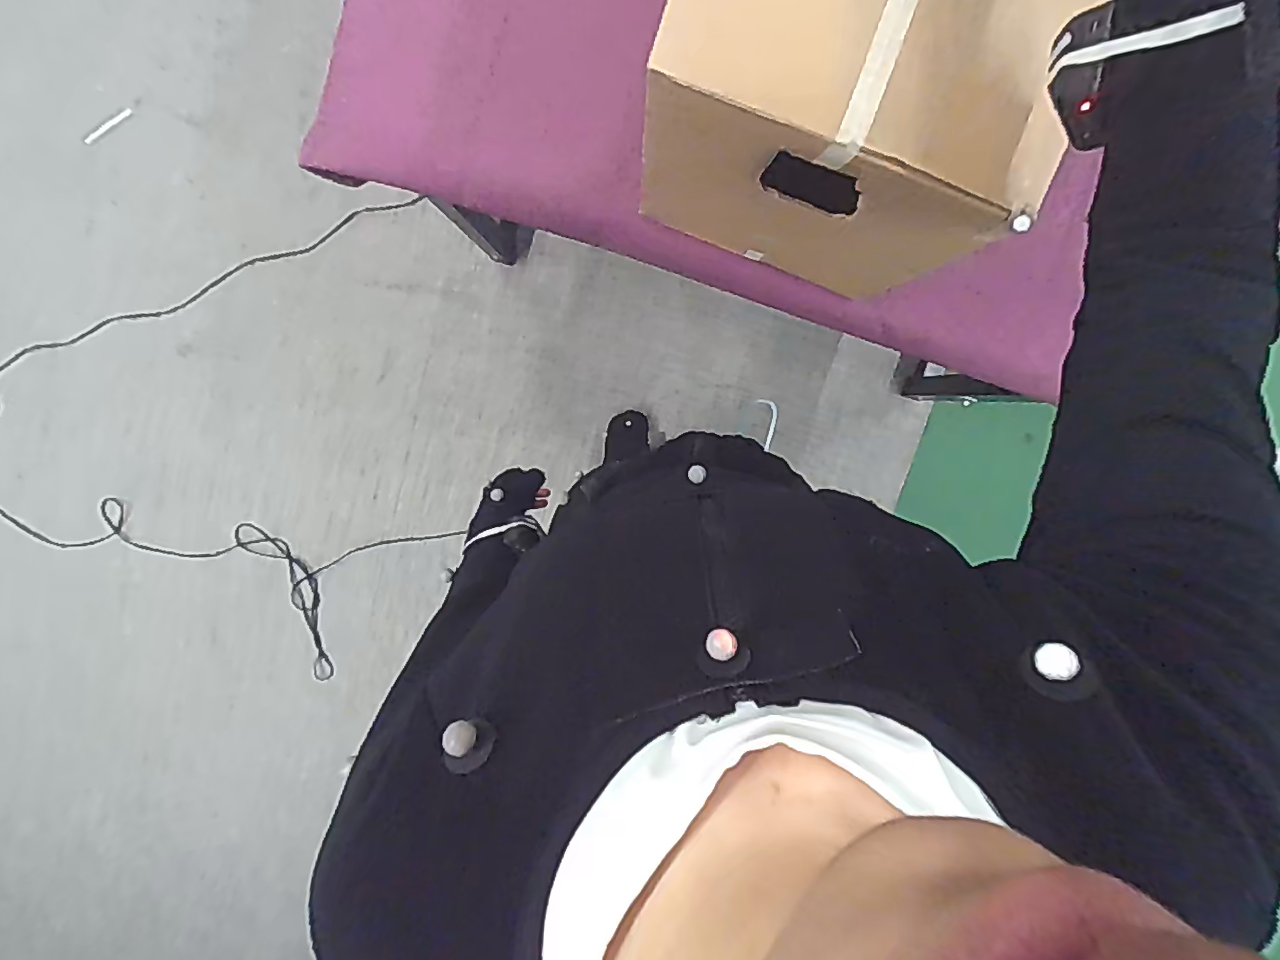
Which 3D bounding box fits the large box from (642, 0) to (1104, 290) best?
[{"bbox_3d":[0.211,-0.461,0.539,0.320,0.320,0.408,20,98,-4],"label":"large box"}]
